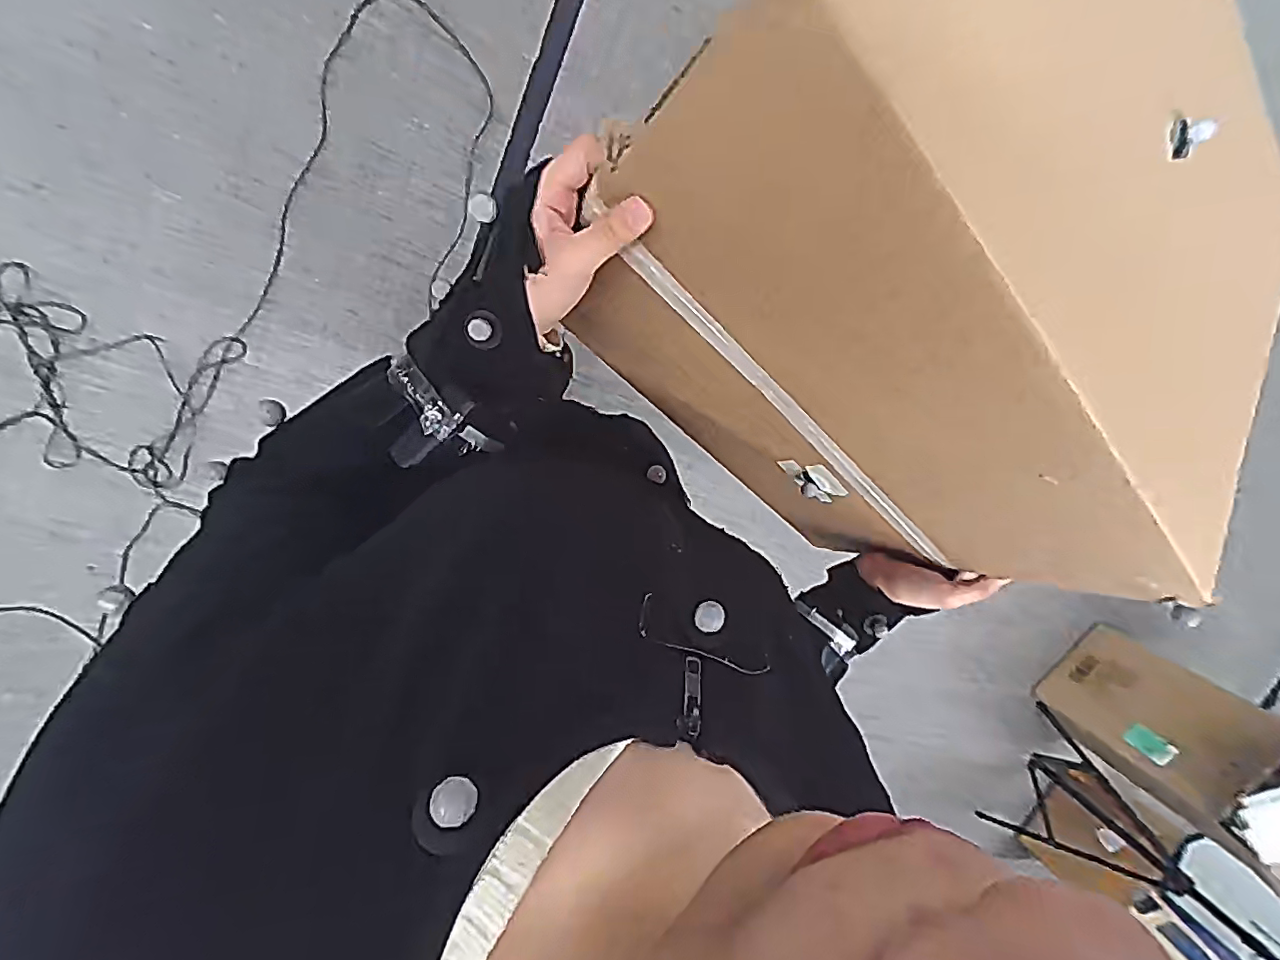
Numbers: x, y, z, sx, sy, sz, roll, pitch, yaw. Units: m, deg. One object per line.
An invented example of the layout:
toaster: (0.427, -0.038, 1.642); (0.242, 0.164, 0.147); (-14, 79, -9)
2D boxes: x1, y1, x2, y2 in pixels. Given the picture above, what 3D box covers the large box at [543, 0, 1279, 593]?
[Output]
large box: (0.212, -0.173, 0.390); (0.408, 0.320, 0.320); (38, 75, -24)
